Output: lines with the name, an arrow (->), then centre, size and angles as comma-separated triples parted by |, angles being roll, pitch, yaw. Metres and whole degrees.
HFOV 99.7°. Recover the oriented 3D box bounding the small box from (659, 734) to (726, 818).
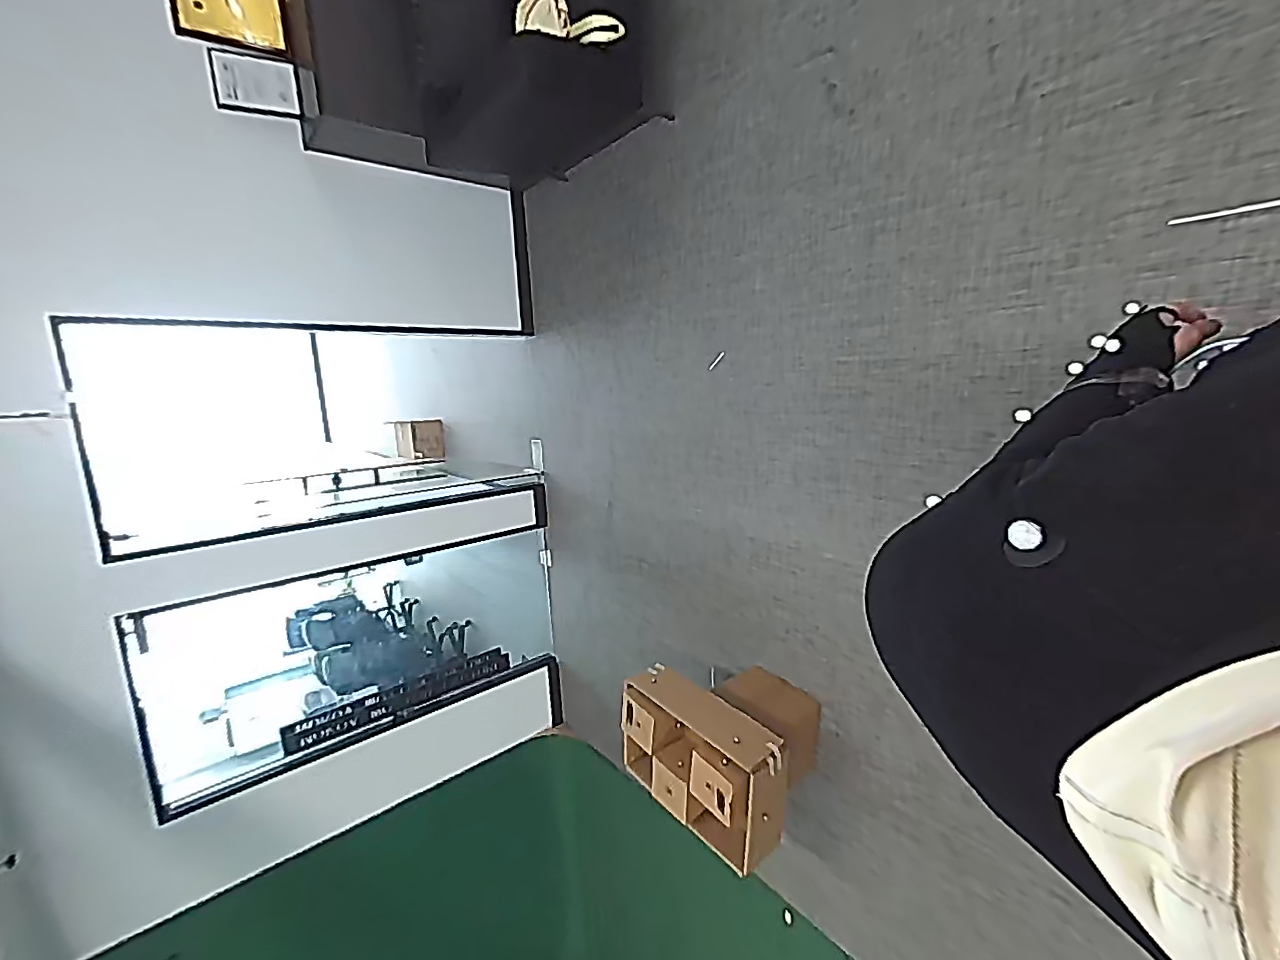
small box -> 0.187, 1.045, 1.929 | 0.179, 0.176, 0.168 | 17, 110, 48
